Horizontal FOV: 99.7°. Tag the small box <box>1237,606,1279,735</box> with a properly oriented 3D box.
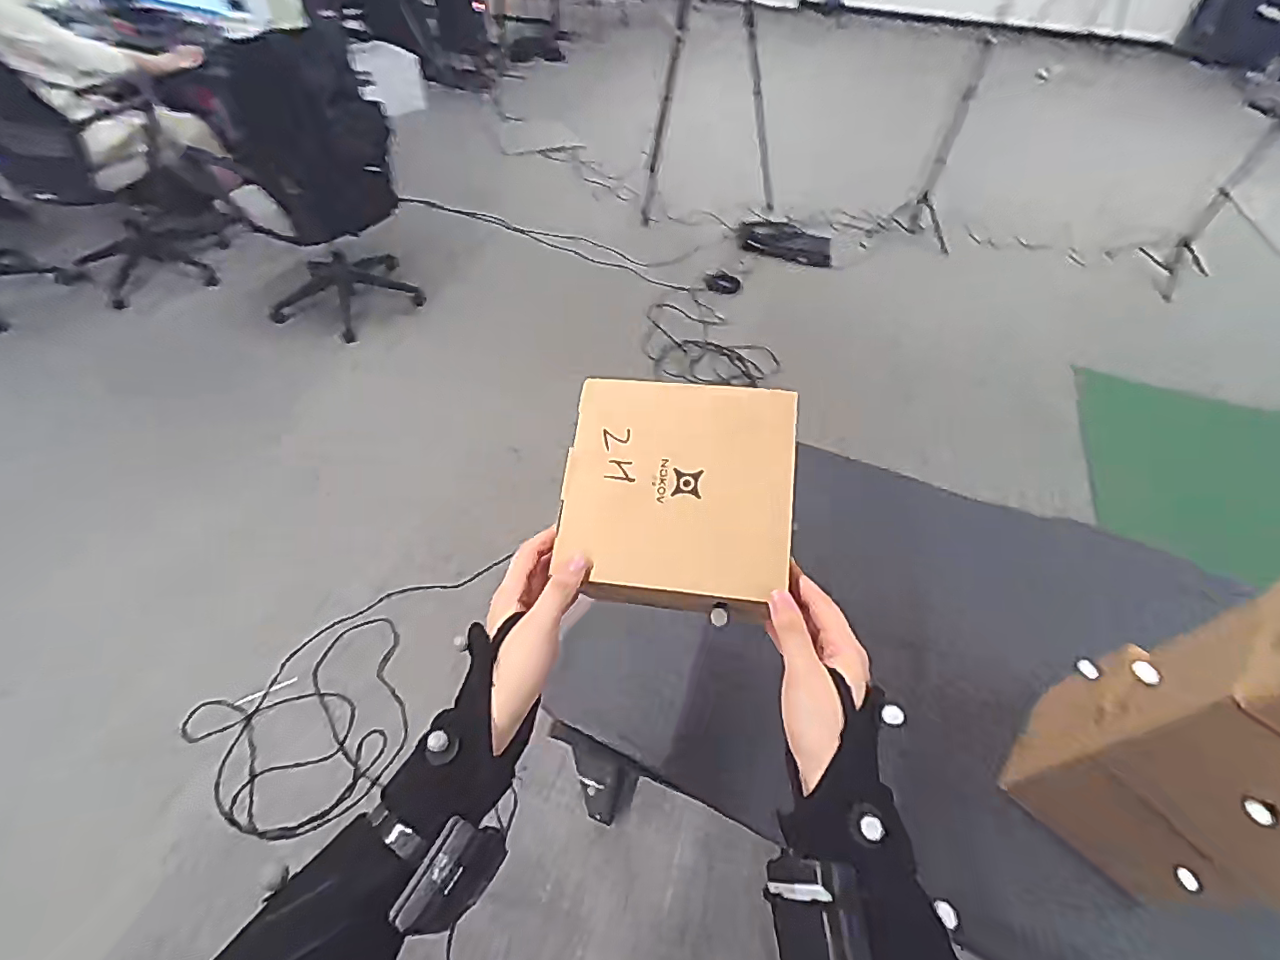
[{"bbox_3d":[0.566,0.134,0.347,0.168,0.176,0.179,-31,58,-27],"label":"small box"}]

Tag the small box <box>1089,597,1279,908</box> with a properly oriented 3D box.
[{"bbox_3d":[0.562,0.240,0.470,0.168,0.176,0.179,-29,57,-26],"label":"small box"}]
